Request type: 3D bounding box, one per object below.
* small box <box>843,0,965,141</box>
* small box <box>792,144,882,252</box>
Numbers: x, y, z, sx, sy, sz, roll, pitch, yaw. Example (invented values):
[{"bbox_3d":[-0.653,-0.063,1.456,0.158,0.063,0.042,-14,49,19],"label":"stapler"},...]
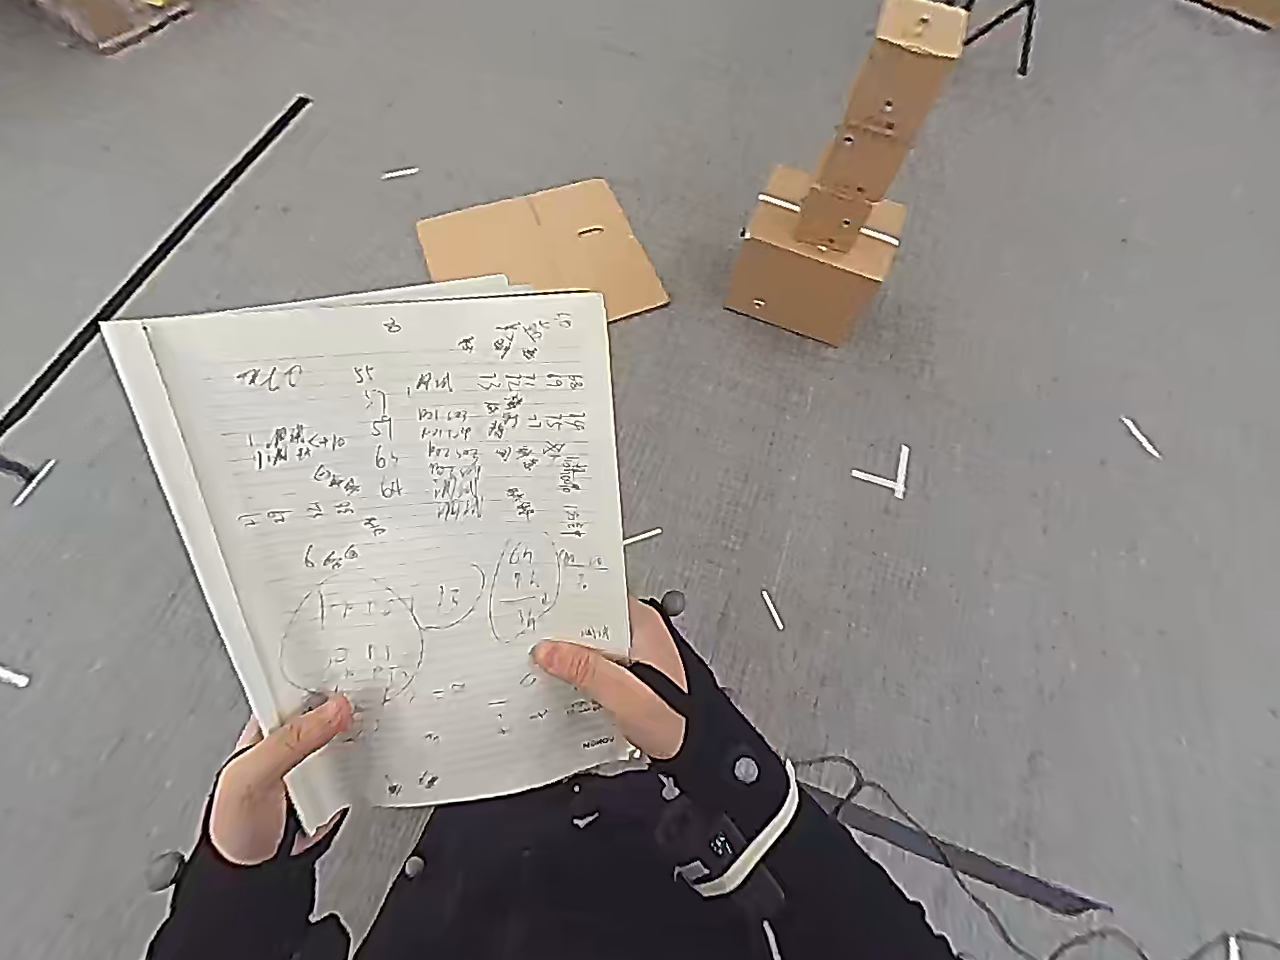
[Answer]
[{"bbox_3d":[0.550,-0.866,1.140,0.168,0.176,0.179,18,69,4],"label":"small box"},{"bbox_3d":[0.521,-0.747,1.446,0.168,0.176,0.179,17,68,2],"label":"small box"}]
